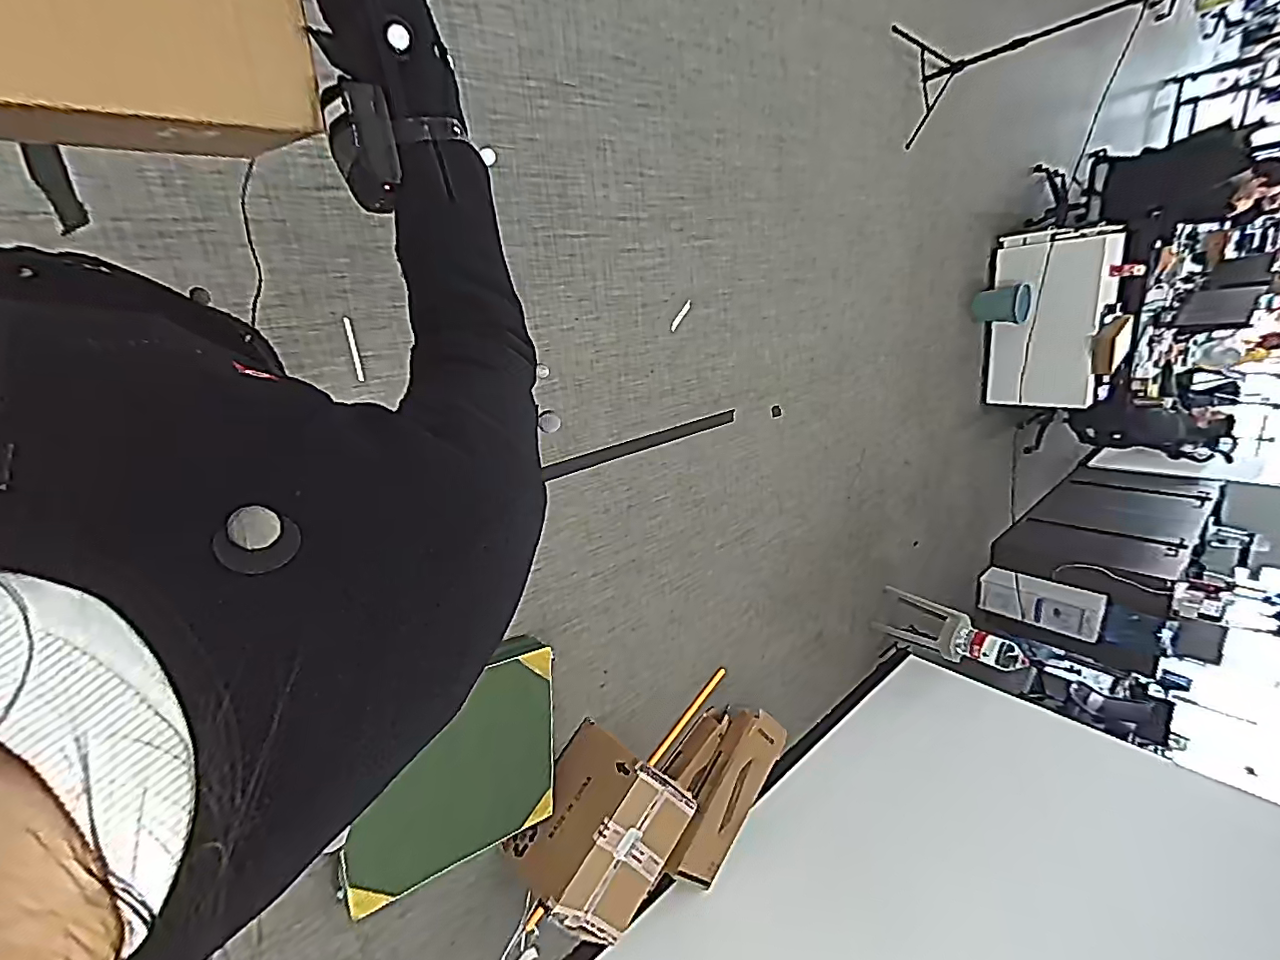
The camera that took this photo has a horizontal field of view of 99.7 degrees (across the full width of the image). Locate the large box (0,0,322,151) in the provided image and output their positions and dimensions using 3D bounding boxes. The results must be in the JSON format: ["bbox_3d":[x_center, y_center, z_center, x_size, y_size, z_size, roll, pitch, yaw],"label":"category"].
[{"bbox_3d":[-0.460,-0.369,0.282,0.408,0.320,0.320,-20,125,-36],"label":"large box"}]
